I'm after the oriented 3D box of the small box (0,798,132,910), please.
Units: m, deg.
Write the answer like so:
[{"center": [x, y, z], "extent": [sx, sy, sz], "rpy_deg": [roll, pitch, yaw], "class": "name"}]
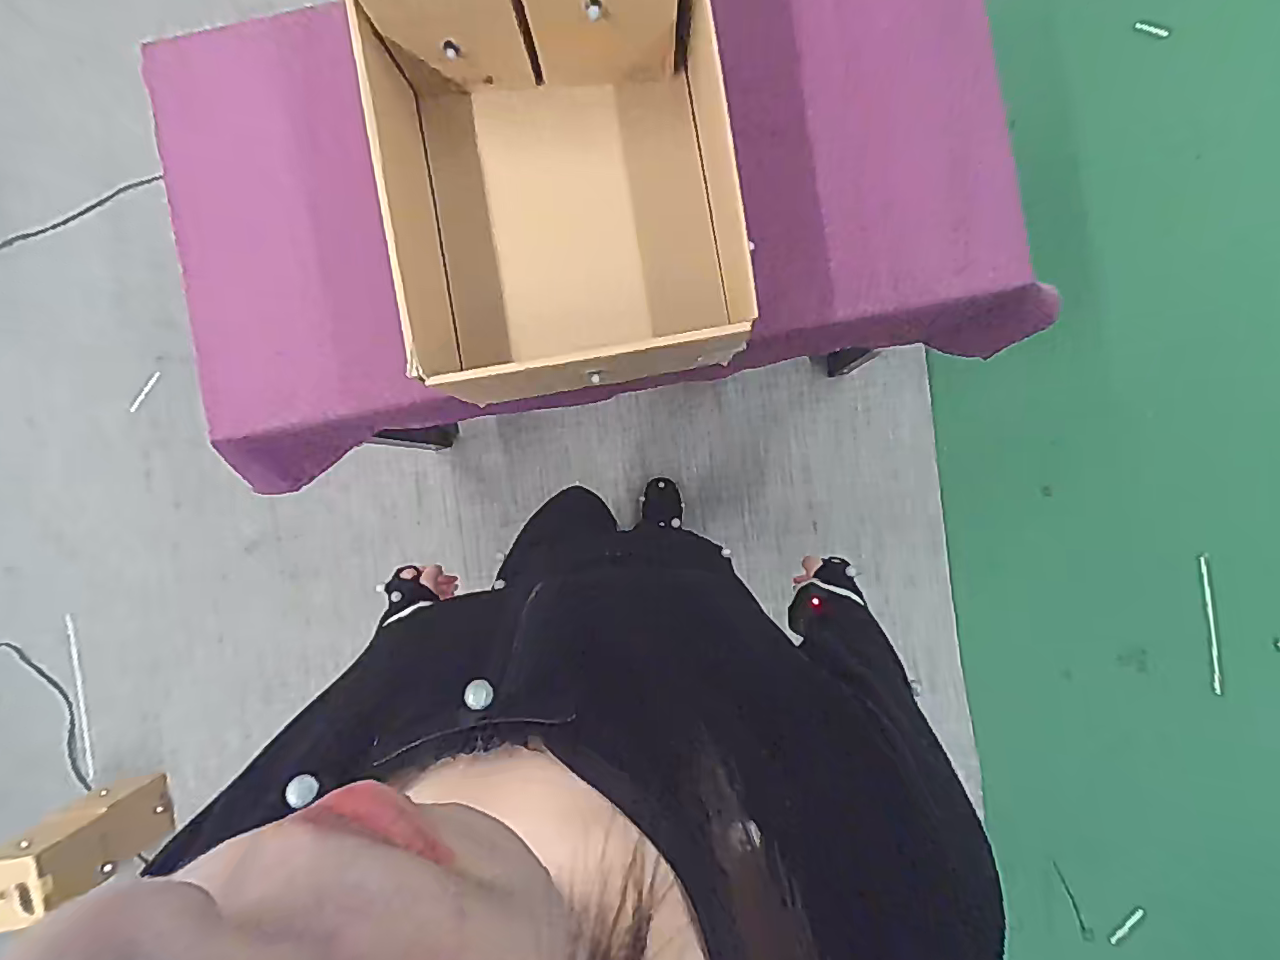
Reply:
[{"center": [-1.451, 0.943, 1.378], "extent": [0.179, 0.176, 0.168], "rpy_deg": [-11, 90, 5], "class": "small box"}]
